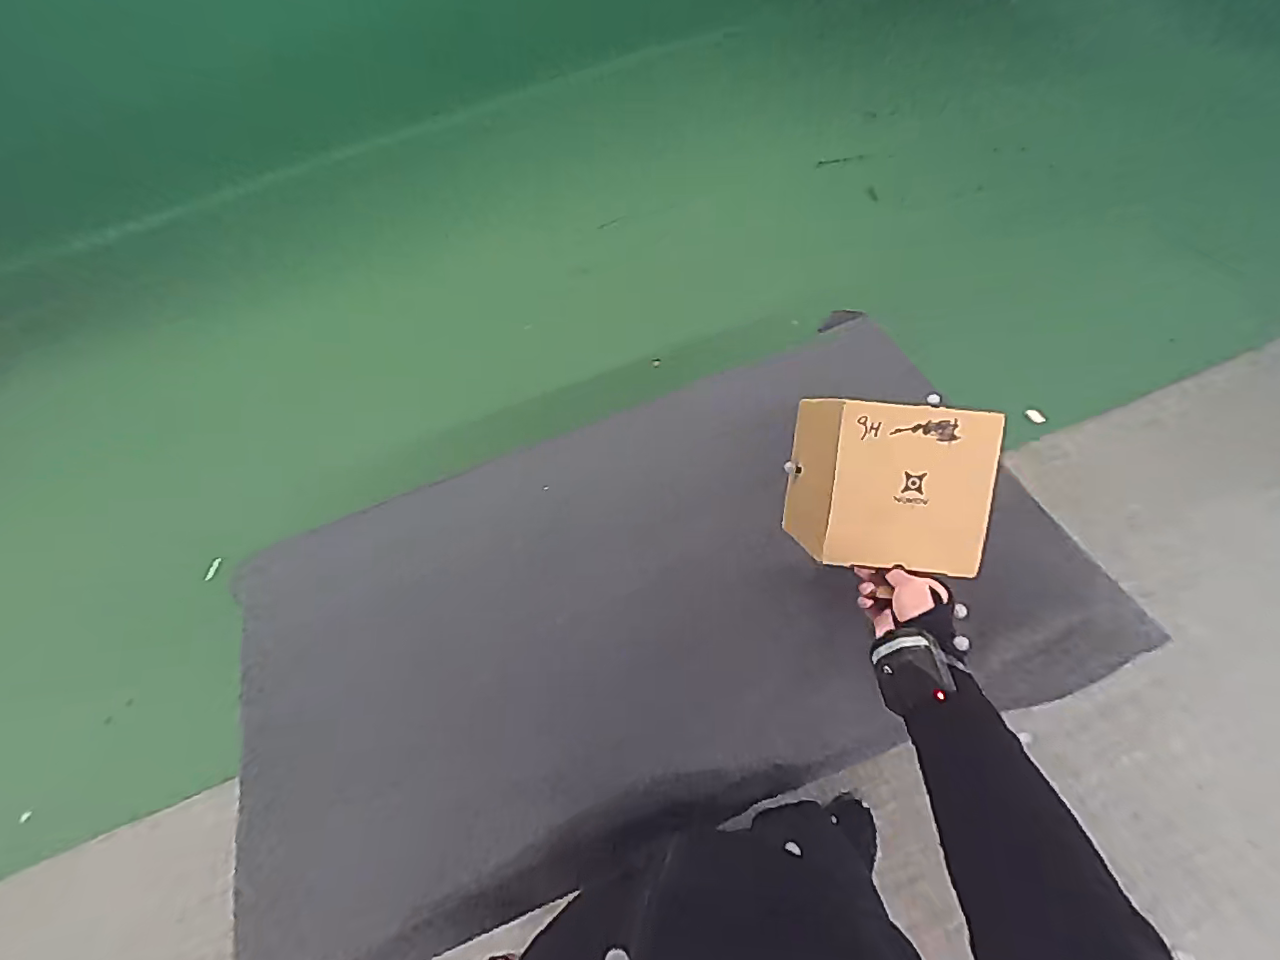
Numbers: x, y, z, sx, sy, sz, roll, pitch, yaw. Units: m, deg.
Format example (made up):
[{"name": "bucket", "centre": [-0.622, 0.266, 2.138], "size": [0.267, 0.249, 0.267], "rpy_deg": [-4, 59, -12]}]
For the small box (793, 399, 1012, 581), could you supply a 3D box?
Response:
[{"name": "small box", "centre": [0.289, 0.001, 0.640], "size": [0.168, 0.176, 0.179], "rpy_deg": [6, 100, 0]}]
